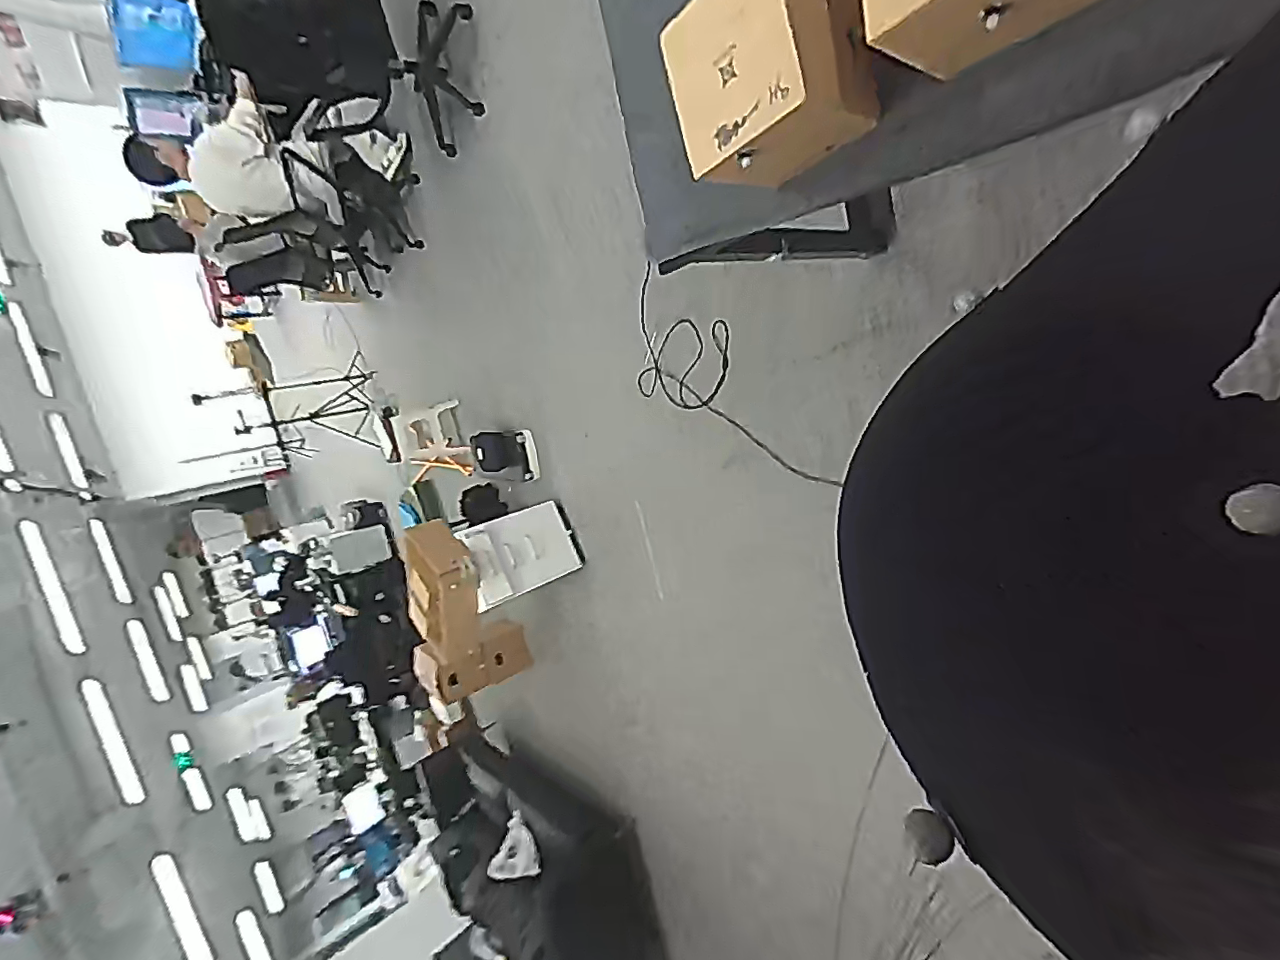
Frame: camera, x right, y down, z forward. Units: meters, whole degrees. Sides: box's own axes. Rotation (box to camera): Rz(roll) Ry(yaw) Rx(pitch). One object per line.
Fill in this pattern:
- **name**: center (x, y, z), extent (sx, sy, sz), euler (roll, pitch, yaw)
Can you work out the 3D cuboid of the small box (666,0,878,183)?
- **small box**: center (0.161, -0.488, 0.653), extent (0.168, 0.176, 0.179), euler (-5, 101, 52)
